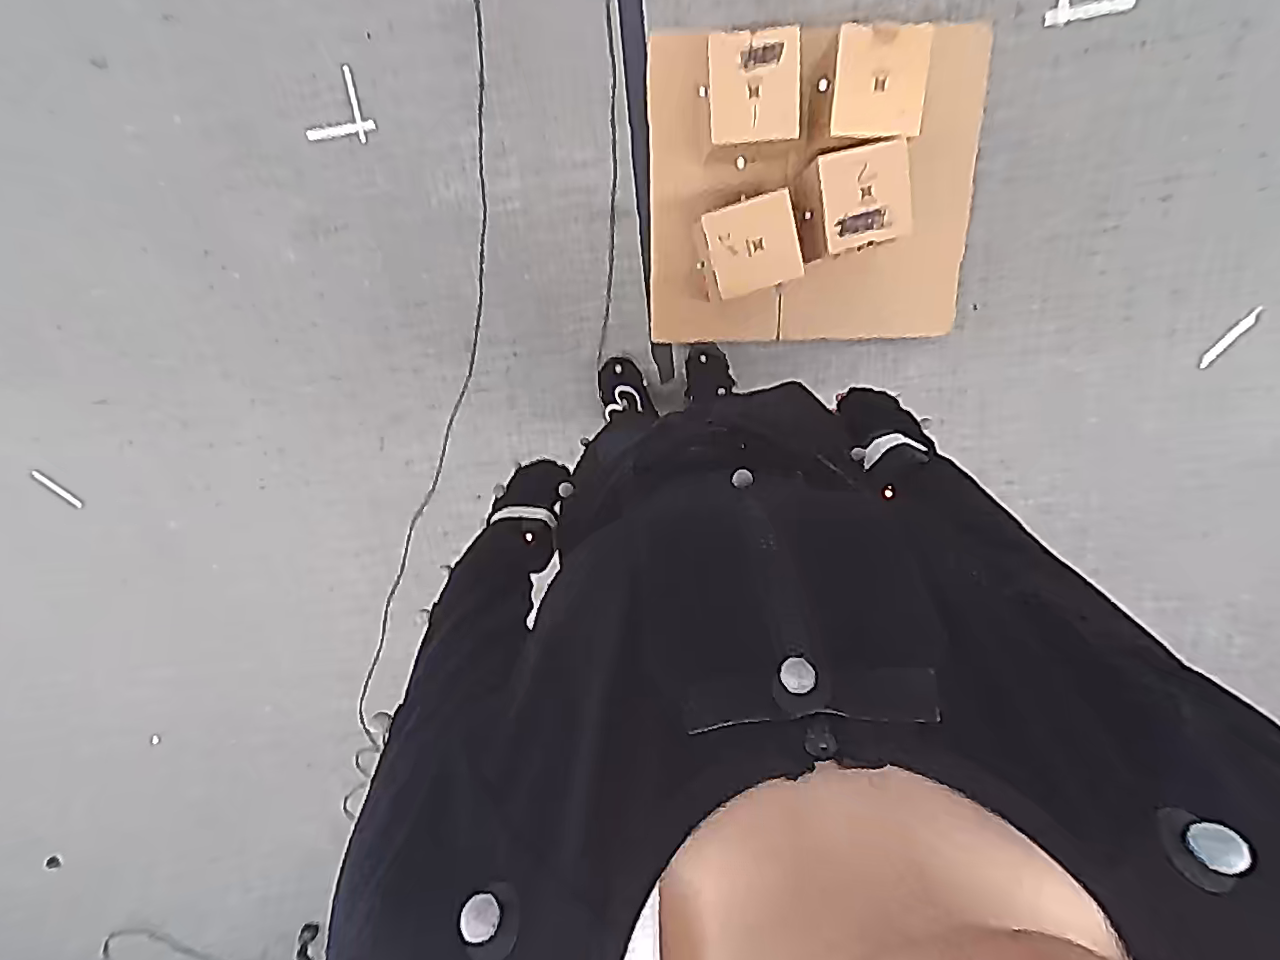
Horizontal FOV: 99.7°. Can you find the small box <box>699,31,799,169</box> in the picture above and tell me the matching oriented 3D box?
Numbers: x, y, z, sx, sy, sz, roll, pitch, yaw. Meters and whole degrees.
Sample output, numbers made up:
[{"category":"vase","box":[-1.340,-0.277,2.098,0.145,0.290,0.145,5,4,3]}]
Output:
[{"category":"small box","box":[0.208,-0.736,1.065,0.168,0.176,0.179,-4,107,1]}]

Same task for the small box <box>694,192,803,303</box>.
[{"category":"small box","box":[0.222,-0.480,1.140,0.179,0.176,0.168,-15,105,5]}]
